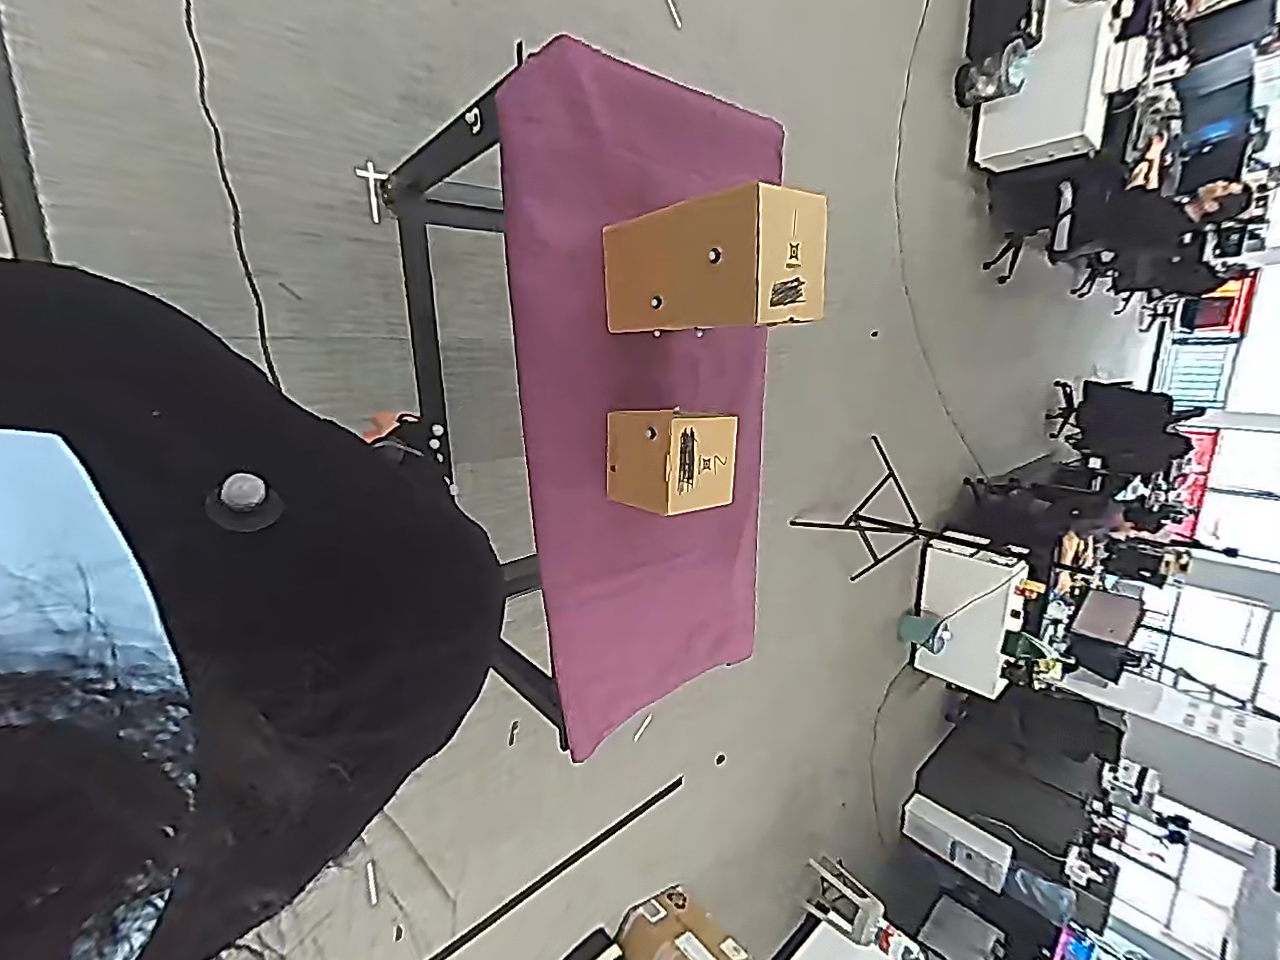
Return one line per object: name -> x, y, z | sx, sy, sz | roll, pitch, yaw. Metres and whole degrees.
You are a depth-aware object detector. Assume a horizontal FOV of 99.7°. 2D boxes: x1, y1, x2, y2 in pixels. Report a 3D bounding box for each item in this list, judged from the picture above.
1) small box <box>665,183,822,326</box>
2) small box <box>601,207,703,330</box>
small box -> 0.152, -0.325, 0.817 | 0.168, 0.176, 0.179 | -16, 110, -40
small box -> 0.046, -0.356, 0.939 | 0.168, 0.176, 0.179 | -16, 111, -39
